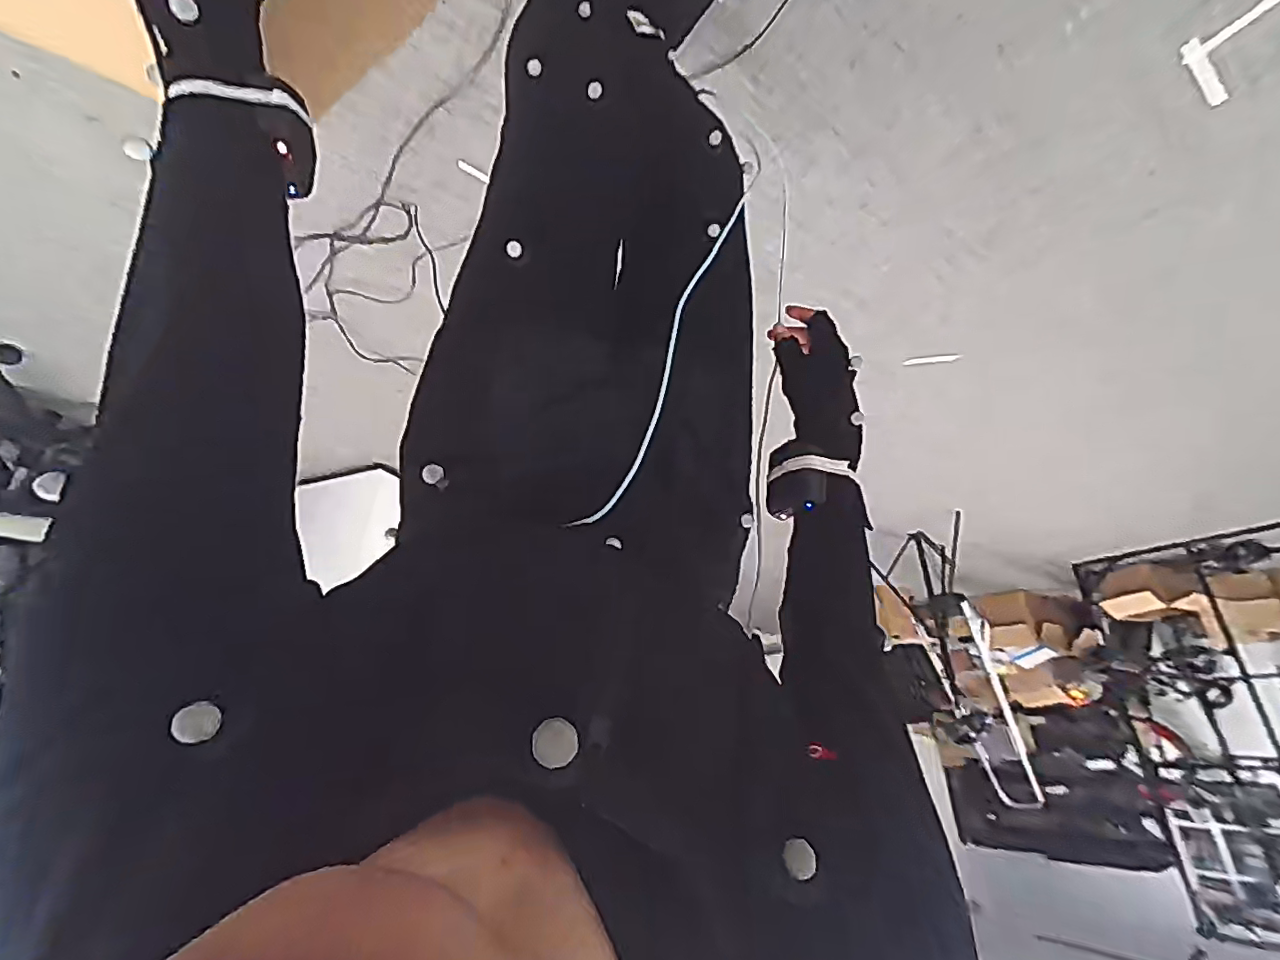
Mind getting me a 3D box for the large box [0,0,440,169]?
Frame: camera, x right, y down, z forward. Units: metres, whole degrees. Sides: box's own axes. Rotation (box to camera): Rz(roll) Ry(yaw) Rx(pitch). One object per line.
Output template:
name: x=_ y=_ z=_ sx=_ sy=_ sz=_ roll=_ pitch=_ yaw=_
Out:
large box: x=-0.419 y=-0.604 z=0.513 sx=0.320 sy=0.408 sz=0.320 roll=22 pitch=148 yaw=-12
